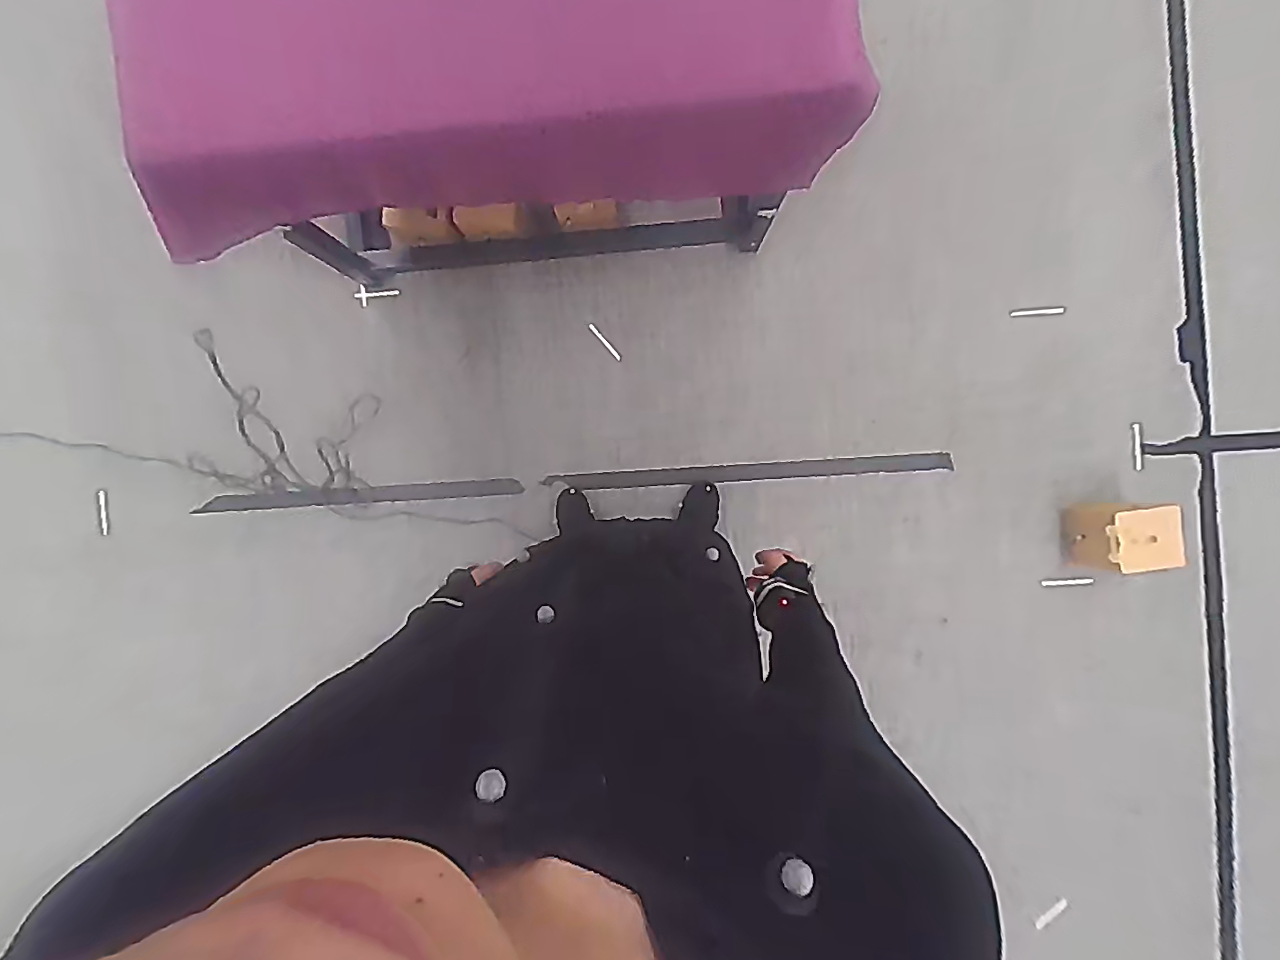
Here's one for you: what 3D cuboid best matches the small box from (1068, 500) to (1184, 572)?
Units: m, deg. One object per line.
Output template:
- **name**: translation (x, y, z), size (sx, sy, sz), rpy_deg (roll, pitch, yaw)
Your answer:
- **small box**: translation (1.353, 0.151, 1.513), size (0.179, 0.176, 0.168), rpy_deg (-7, 92, 3)
